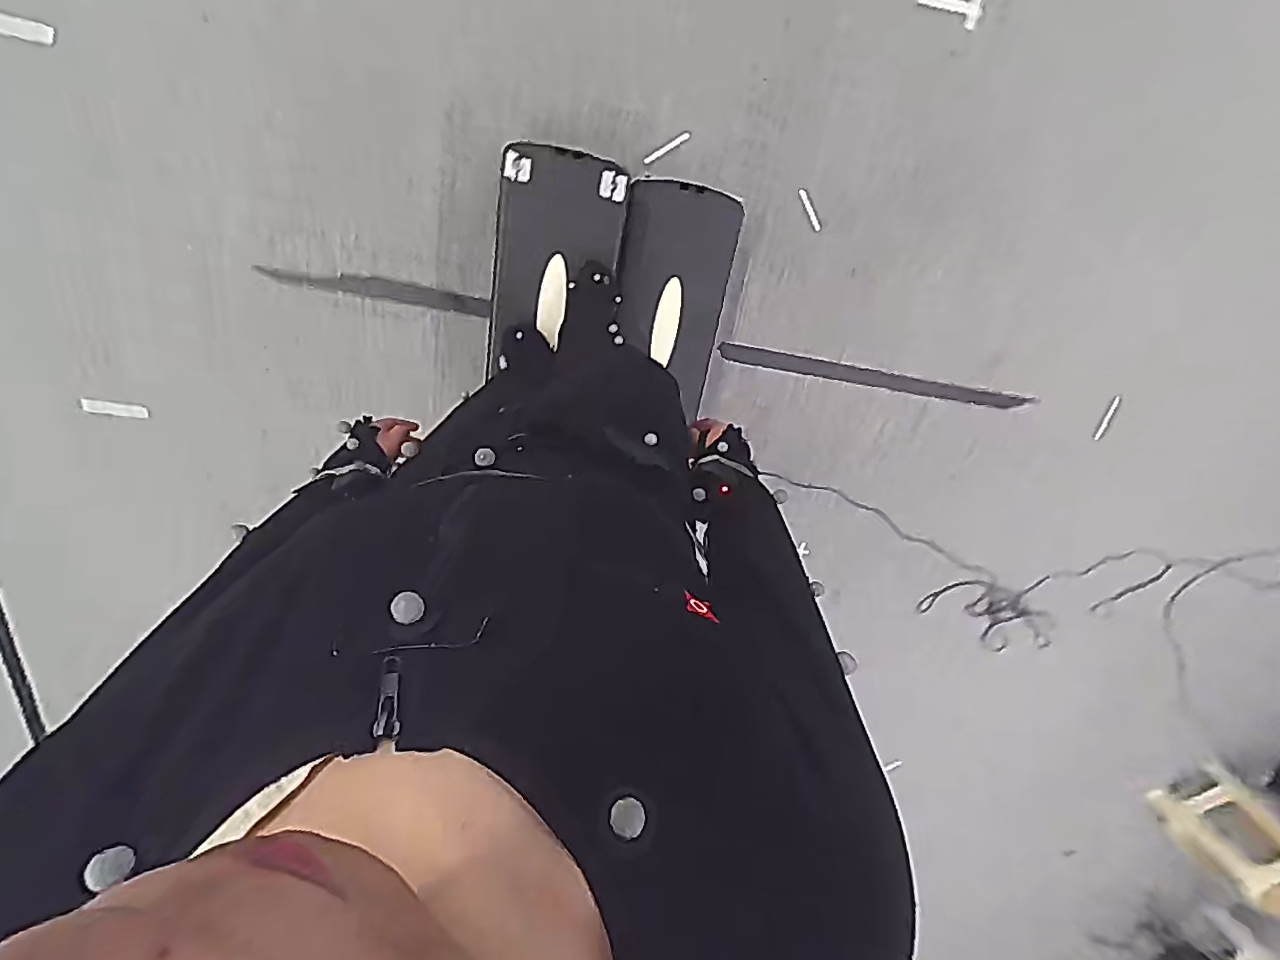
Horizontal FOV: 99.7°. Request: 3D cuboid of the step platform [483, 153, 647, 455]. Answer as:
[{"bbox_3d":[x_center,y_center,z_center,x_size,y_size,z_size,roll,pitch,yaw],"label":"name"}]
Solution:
[{"bbox_3d":[-0.197,-0.404,1.334,0.286,0.204,0.684,11,109,-11],"label":"step platform"}]
